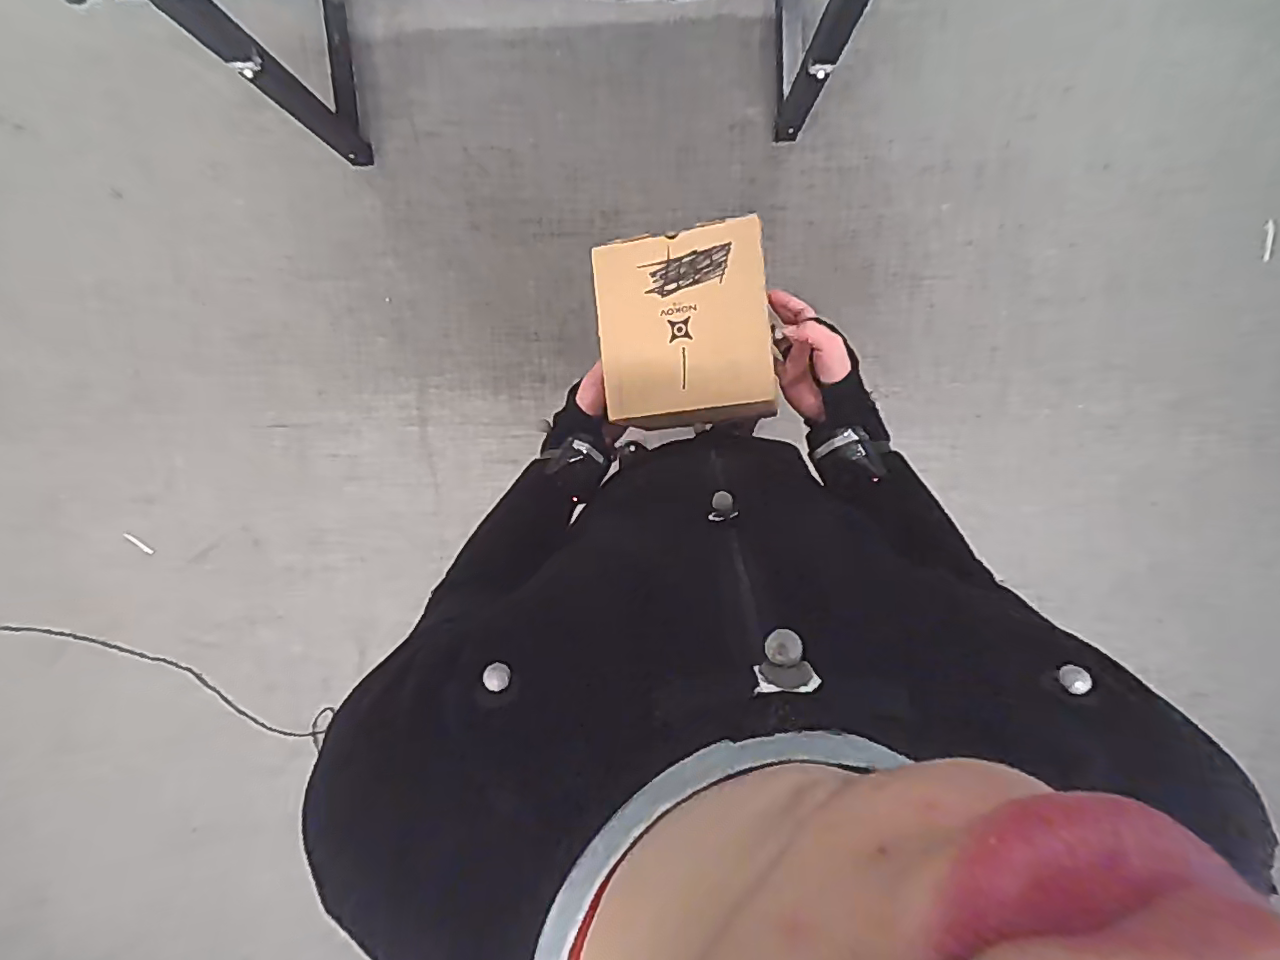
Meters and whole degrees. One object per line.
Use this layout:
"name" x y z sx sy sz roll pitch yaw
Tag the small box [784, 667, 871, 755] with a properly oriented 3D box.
"small box" 0.542 0.670 1.585 0.179 0.176 0.168 10 96 -1
